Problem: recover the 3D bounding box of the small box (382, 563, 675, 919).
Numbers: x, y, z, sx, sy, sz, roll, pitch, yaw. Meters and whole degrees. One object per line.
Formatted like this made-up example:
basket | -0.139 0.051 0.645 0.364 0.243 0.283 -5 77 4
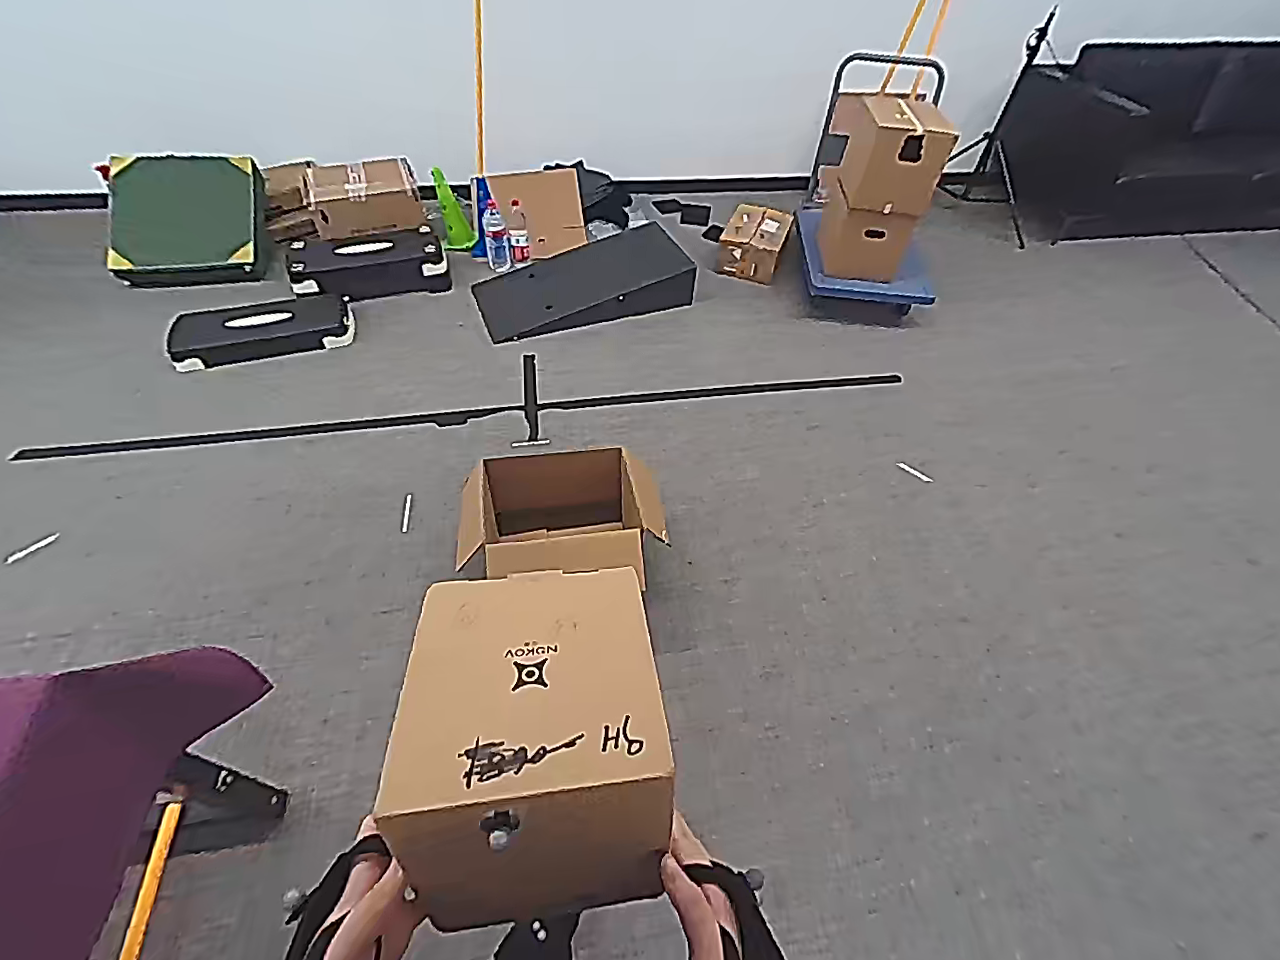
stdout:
small box | -0.072 0.187 0.413 0.168 0.176 0.179 -4 33 -6
